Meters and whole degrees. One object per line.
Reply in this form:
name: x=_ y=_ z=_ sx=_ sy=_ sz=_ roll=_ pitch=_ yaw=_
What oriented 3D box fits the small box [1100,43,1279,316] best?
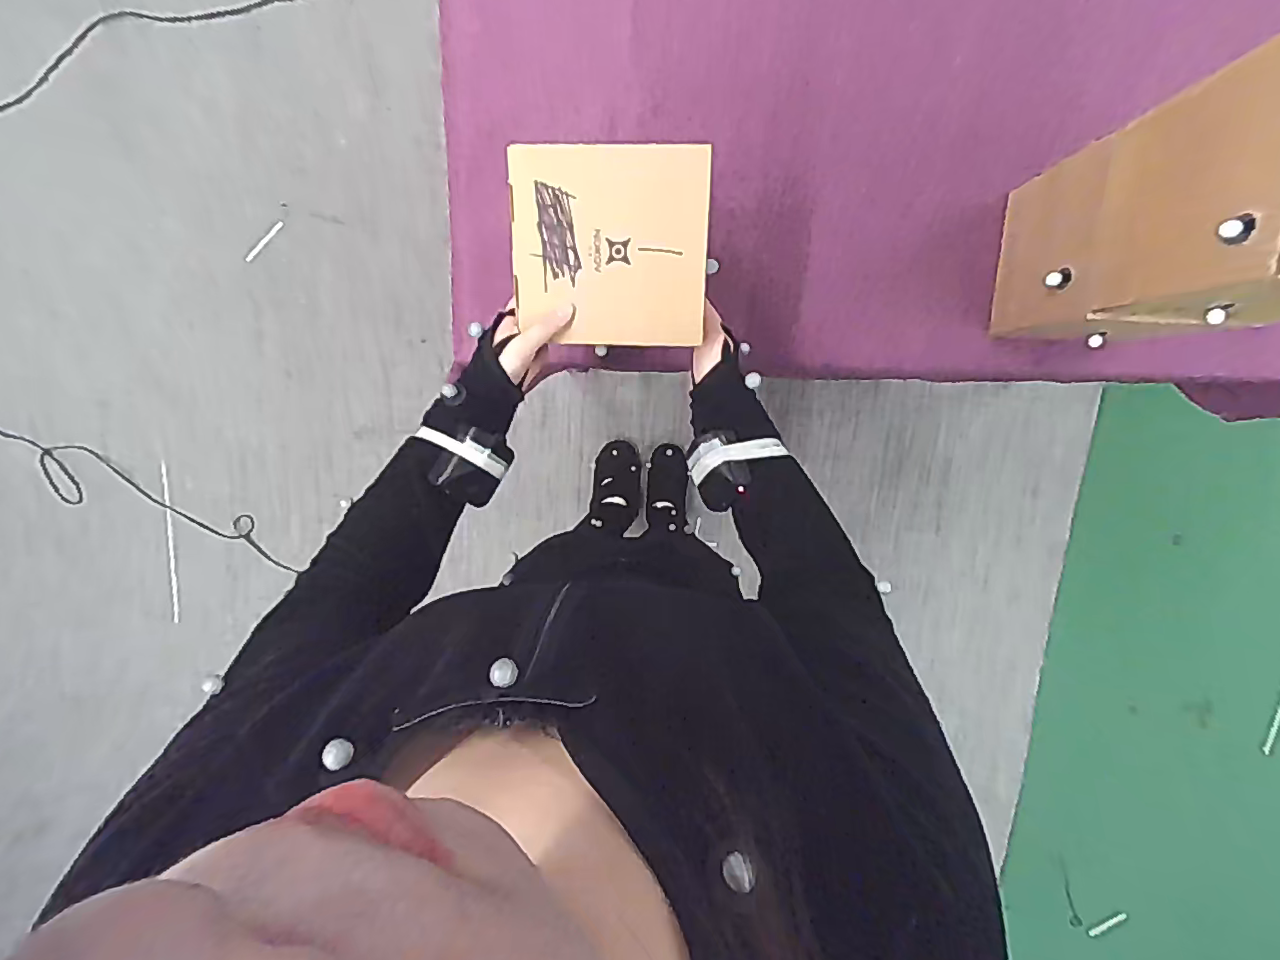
small box: x=0.527 y=-0.238 z=0.437 sx=0.168 sy=0.176 sz=0.179 roll=3 pitch=100 yaw=2

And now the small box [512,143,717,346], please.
small box: x=-0.019 y=-0.228 z=0.552 sx=0.179 sy=0.176 sz=0.168 roll=2 pitch=109 yaw=3

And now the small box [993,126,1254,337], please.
small box: x=0.529 y=-0.257 z=0.599 sx=0.168 sy=0.176 sz=0.179 roll=3 pitch=99 yaw=2
